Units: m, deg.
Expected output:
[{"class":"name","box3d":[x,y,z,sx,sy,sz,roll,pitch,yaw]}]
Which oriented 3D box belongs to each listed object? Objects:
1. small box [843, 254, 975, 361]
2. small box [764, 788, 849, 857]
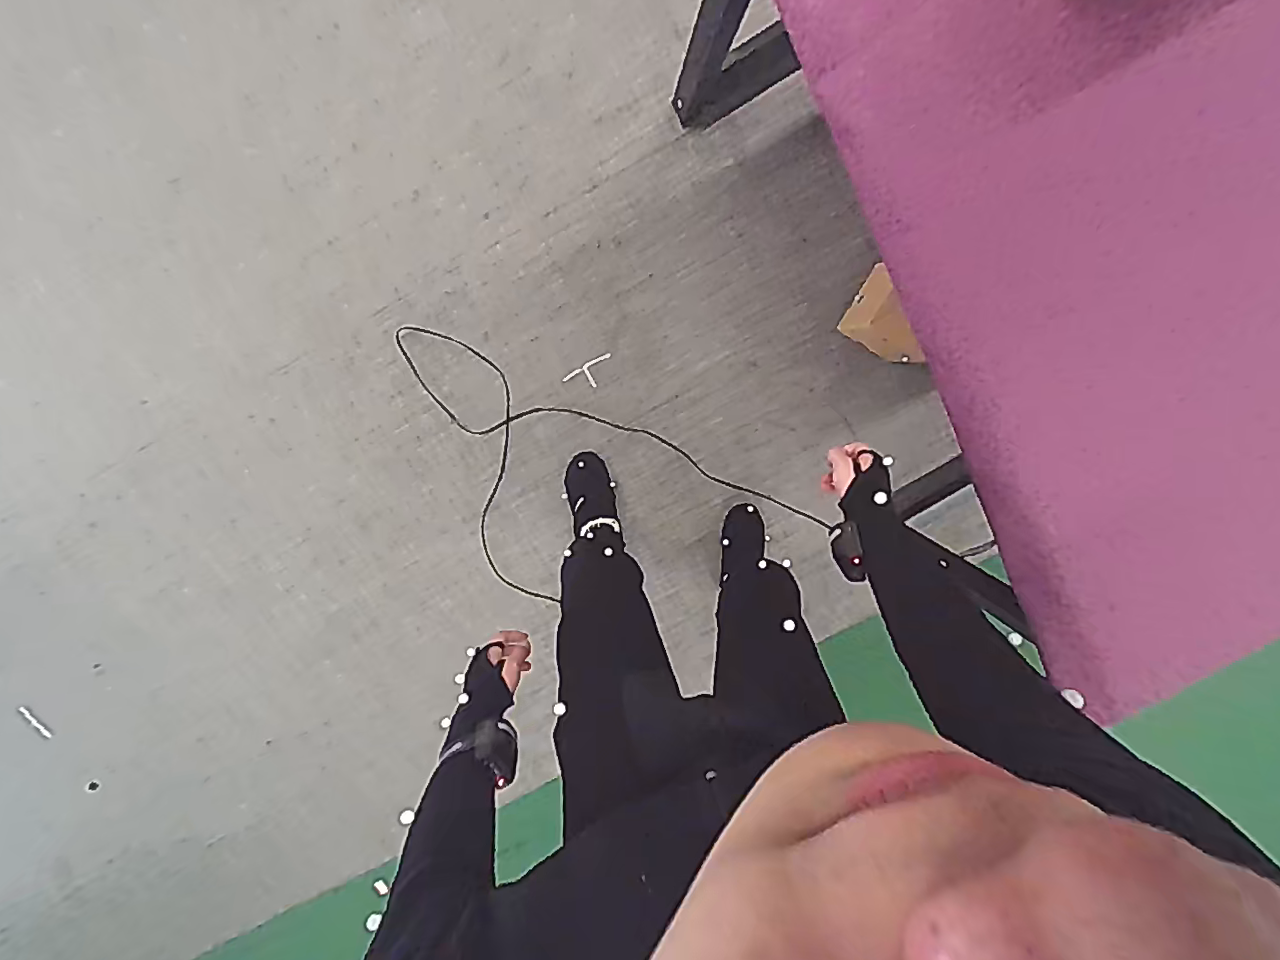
[{"class":"small box","box3d":[0.608,-0.389,1.236,0.168,0.176,0.179,28,101,-9]},{"class":"small box","box3d":[0.492,1.052,1.599,0.168,0.176,0.179,-30,105,3]}]
